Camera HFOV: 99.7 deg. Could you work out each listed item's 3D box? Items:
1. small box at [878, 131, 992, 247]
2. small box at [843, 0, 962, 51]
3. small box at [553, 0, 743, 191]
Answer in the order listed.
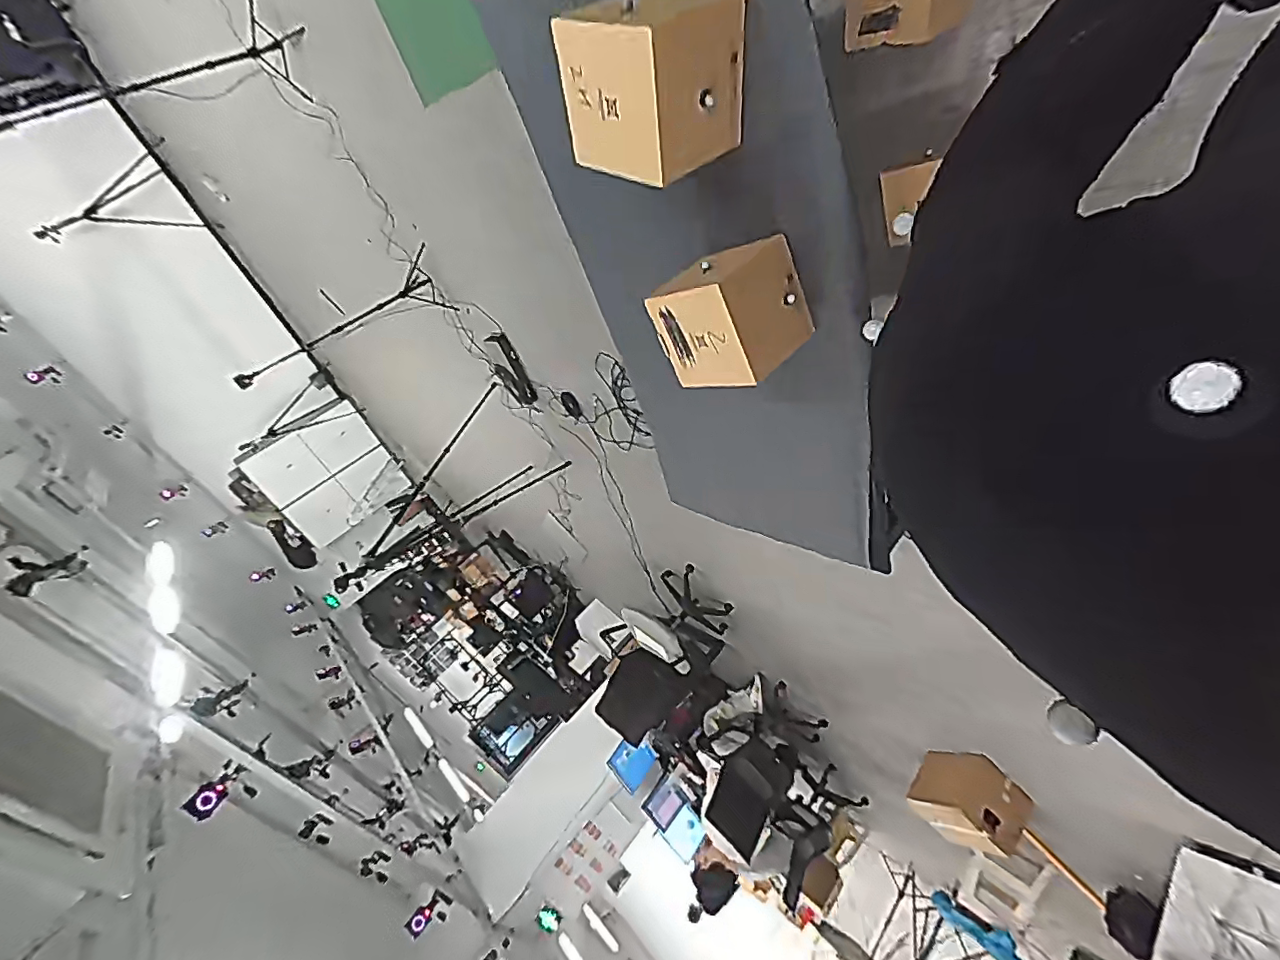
[{"bbox_3d":[0.670,-0.652,1.217,0.179,0.176,0.168,16,140,48],"label":"small box"},{"bbox_3d":[0.509,-0.952,1.031,0.168,0.176,0.179,27,146,35],"label":"small box"},{"bbox_3d":[0.018,-0.514,0.711,0.179,0.176,0.168,34,152,30],"label":"small box"}]
